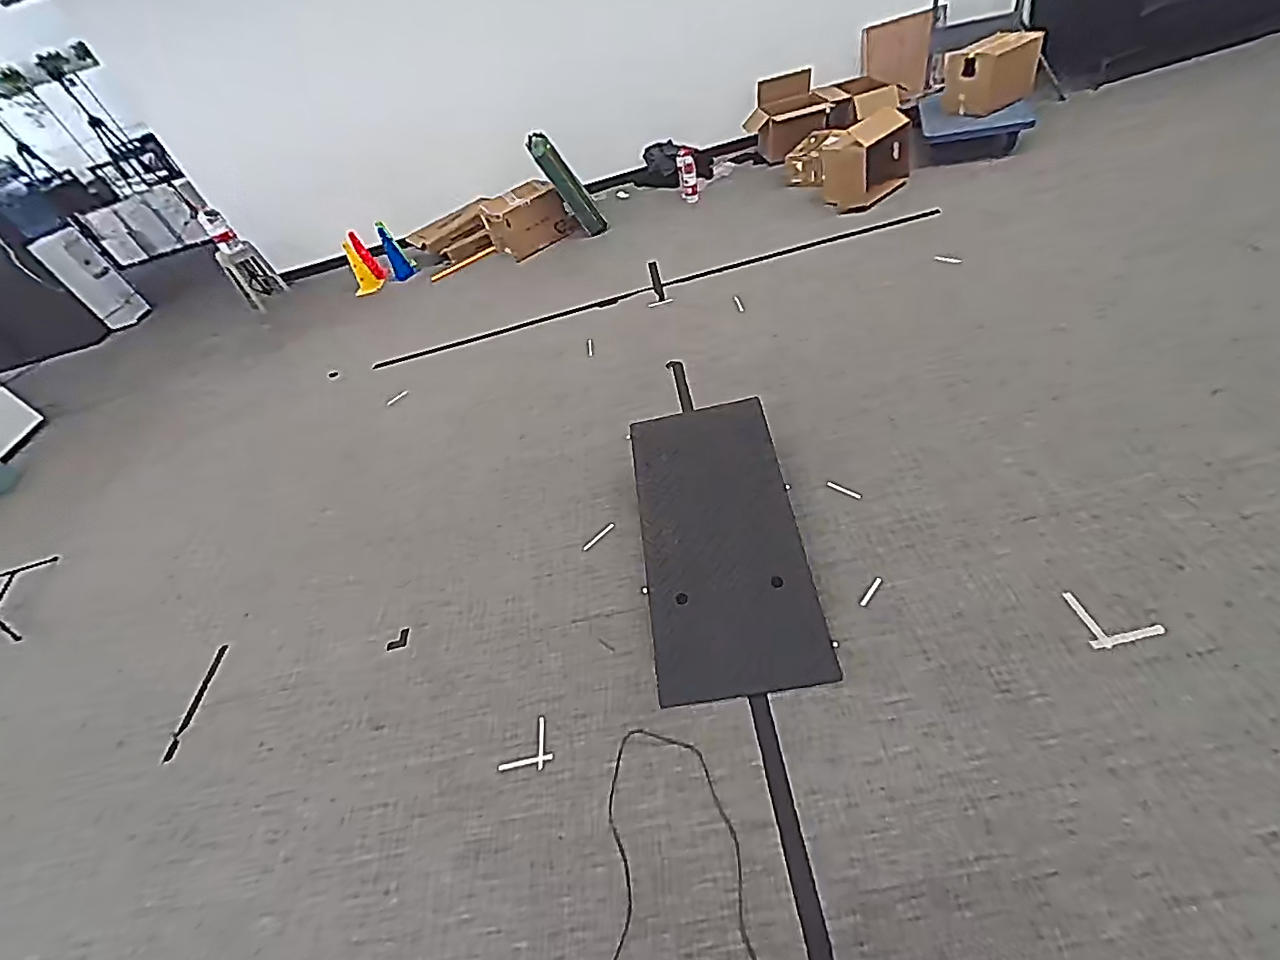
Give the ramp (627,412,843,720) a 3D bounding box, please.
[{"bbox_3d":[0.248,0.203,1.736,0.509,0.206,0.991,-14,44,5],"label":"ramp"}]
